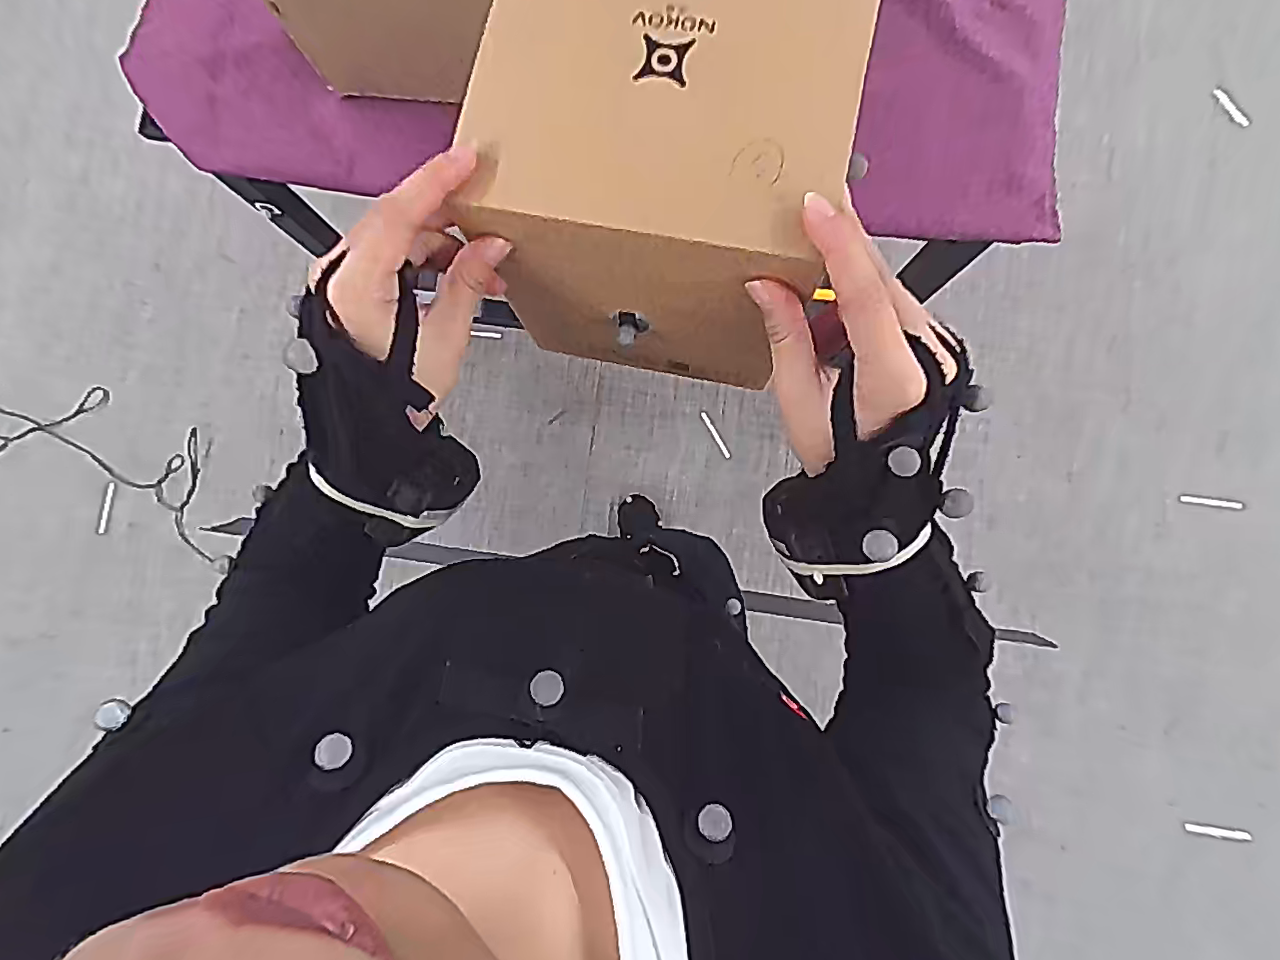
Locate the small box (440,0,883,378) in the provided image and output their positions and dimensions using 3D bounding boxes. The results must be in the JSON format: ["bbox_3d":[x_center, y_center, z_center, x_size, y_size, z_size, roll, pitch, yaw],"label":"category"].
[{"bbox_3d":[0.020,-0.173,0.303,0.168,0.176,0.179,12,82,5],"label":"small box"}]
